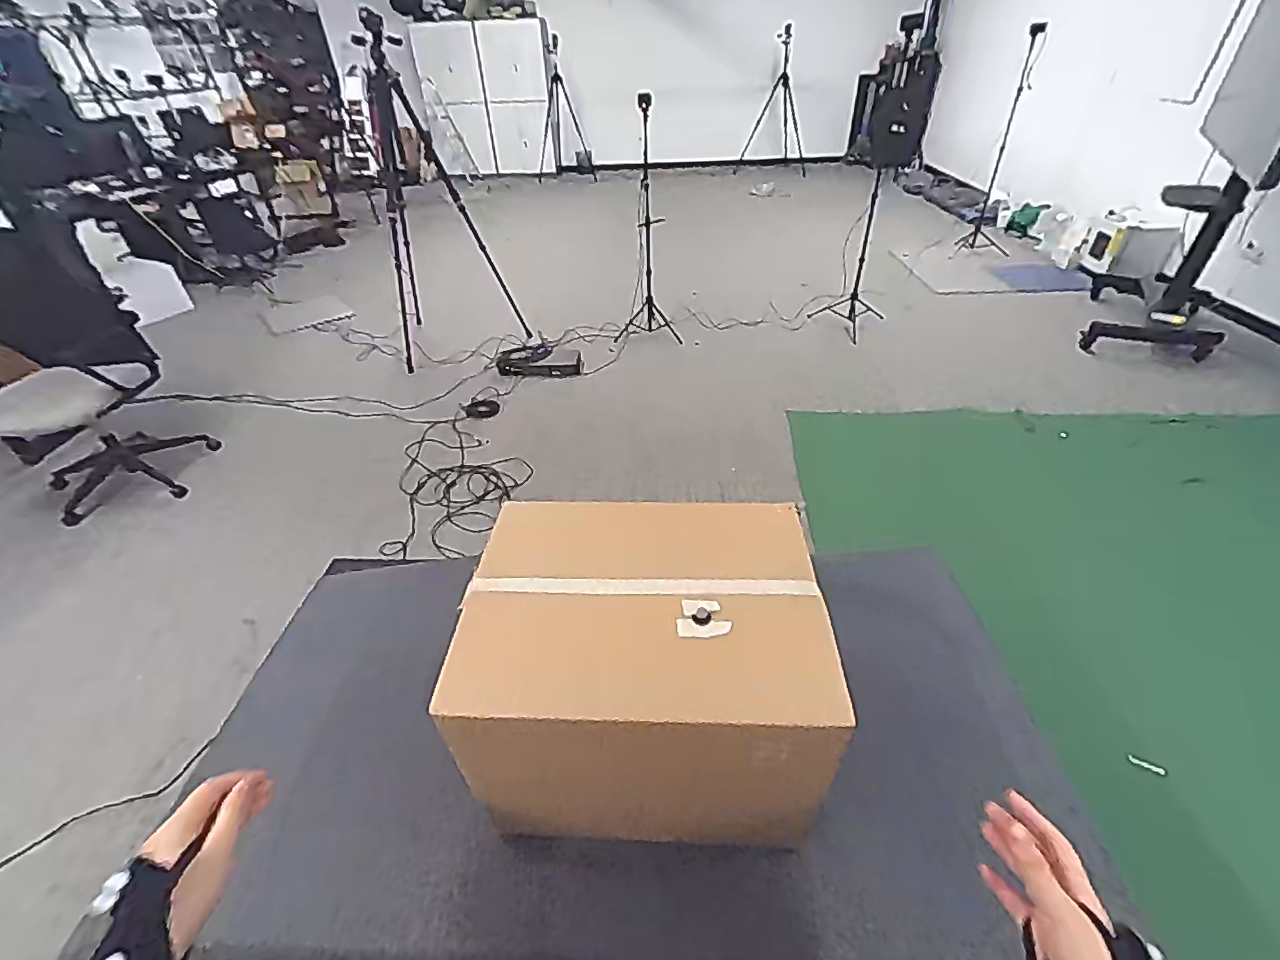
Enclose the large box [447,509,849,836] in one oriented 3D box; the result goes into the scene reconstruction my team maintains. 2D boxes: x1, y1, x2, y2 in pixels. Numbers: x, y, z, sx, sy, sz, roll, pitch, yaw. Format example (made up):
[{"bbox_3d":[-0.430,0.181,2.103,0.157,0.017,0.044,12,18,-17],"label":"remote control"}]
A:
[{"bbox_3d":[0.012,0.252,0.731,0.408,0.320,0.320,0,39,3],"label":"large box"}]
